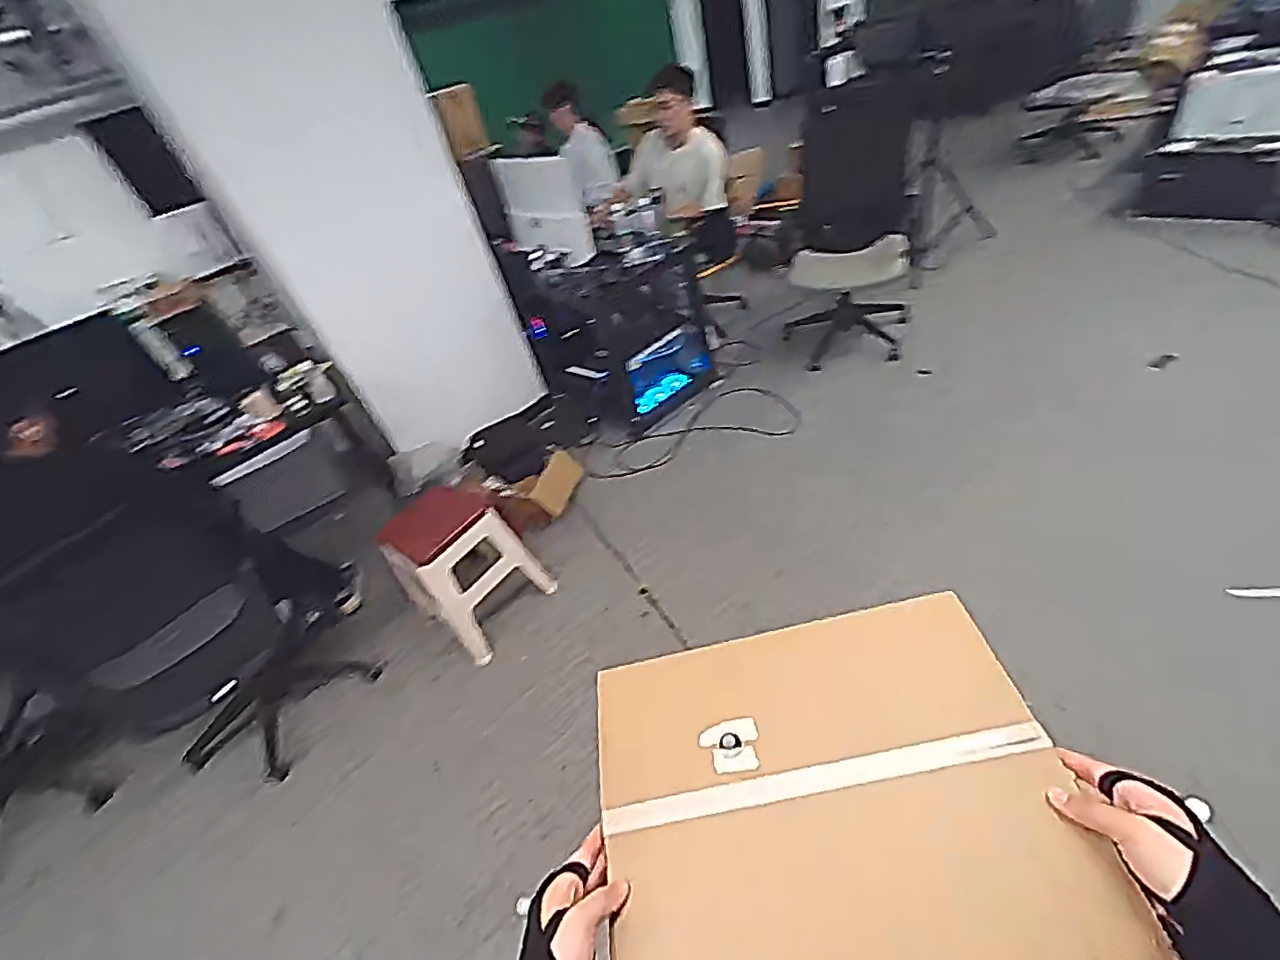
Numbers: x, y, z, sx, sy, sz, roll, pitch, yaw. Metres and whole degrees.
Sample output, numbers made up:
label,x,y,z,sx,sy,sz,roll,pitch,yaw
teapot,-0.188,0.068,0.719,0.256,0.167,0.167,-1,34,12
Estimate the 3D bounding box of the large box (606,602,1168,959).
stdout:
label,x,y,z,sx,sy,sz,roll,pitch,yaw
large box,0.207,0.389,0.603,0.408,0.320,0.320,-16,42,8
